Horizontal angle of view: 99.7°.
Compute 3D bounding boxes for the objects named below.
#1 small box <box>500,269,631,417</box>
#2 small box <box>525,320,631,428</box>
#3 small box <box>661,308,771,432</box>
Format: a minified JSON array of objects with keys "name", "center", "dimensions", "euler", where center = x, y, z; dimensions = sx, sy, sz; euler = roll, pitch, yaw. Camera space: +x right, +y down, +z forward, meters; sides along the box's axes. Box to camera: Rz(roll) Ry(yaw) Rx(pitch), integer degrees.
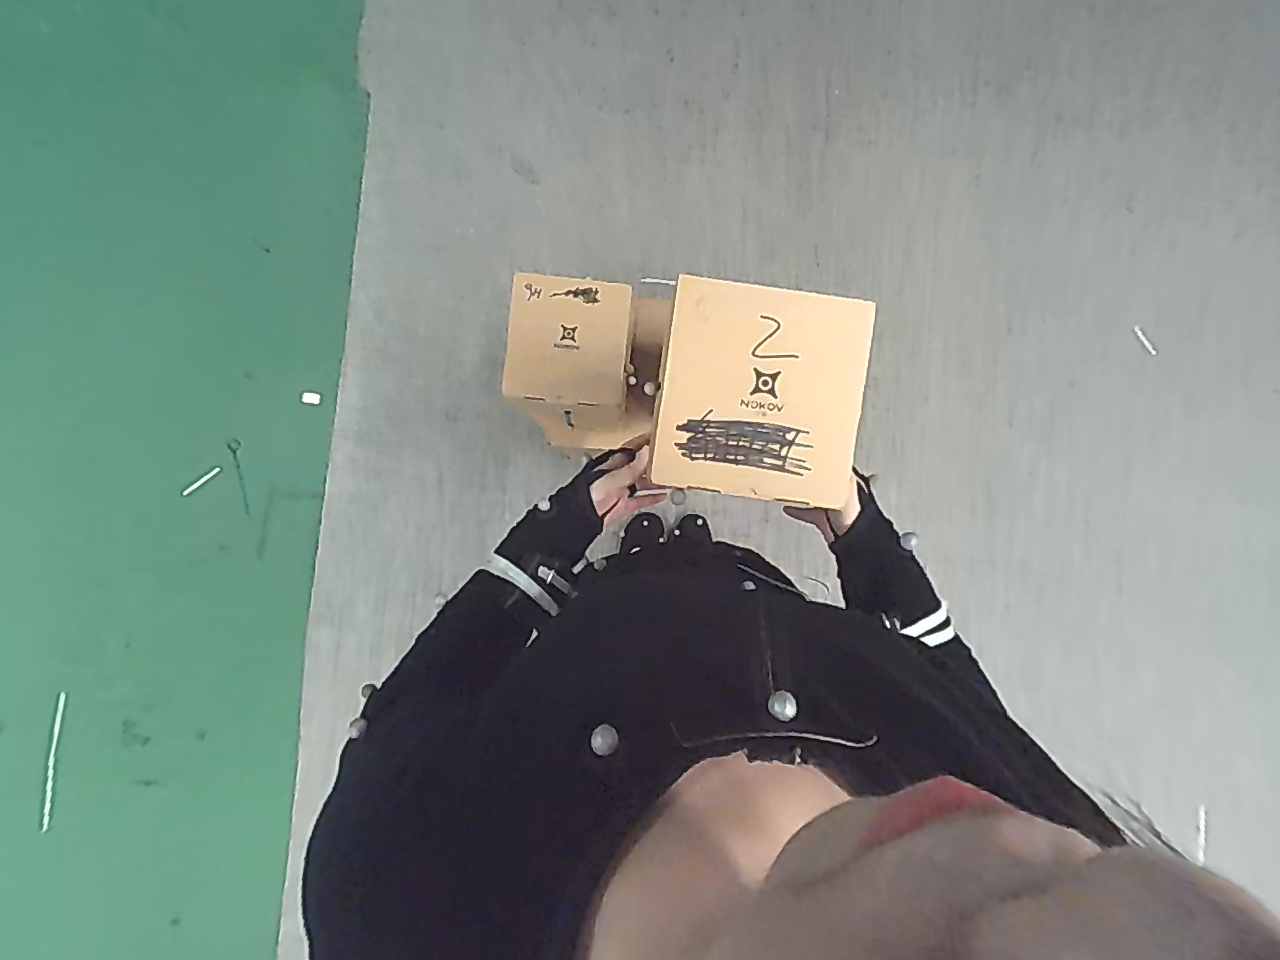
[{"name":"small box","center":[-0.104,-0.195,0.822],"dimensions":[0.168,0.176,0.179],"euler":[6,90,-2]},{"name":"small box","center":[-0.107,-0.197,0.986],"dimensions":[0.168,0.176,0.179],"euler":[5,89,-2]},{"name":"small box","center":[0.130,-0.190,0.987],"dimensions":[0.168,0.176,0.179],"euler":[8,87,0]}]
